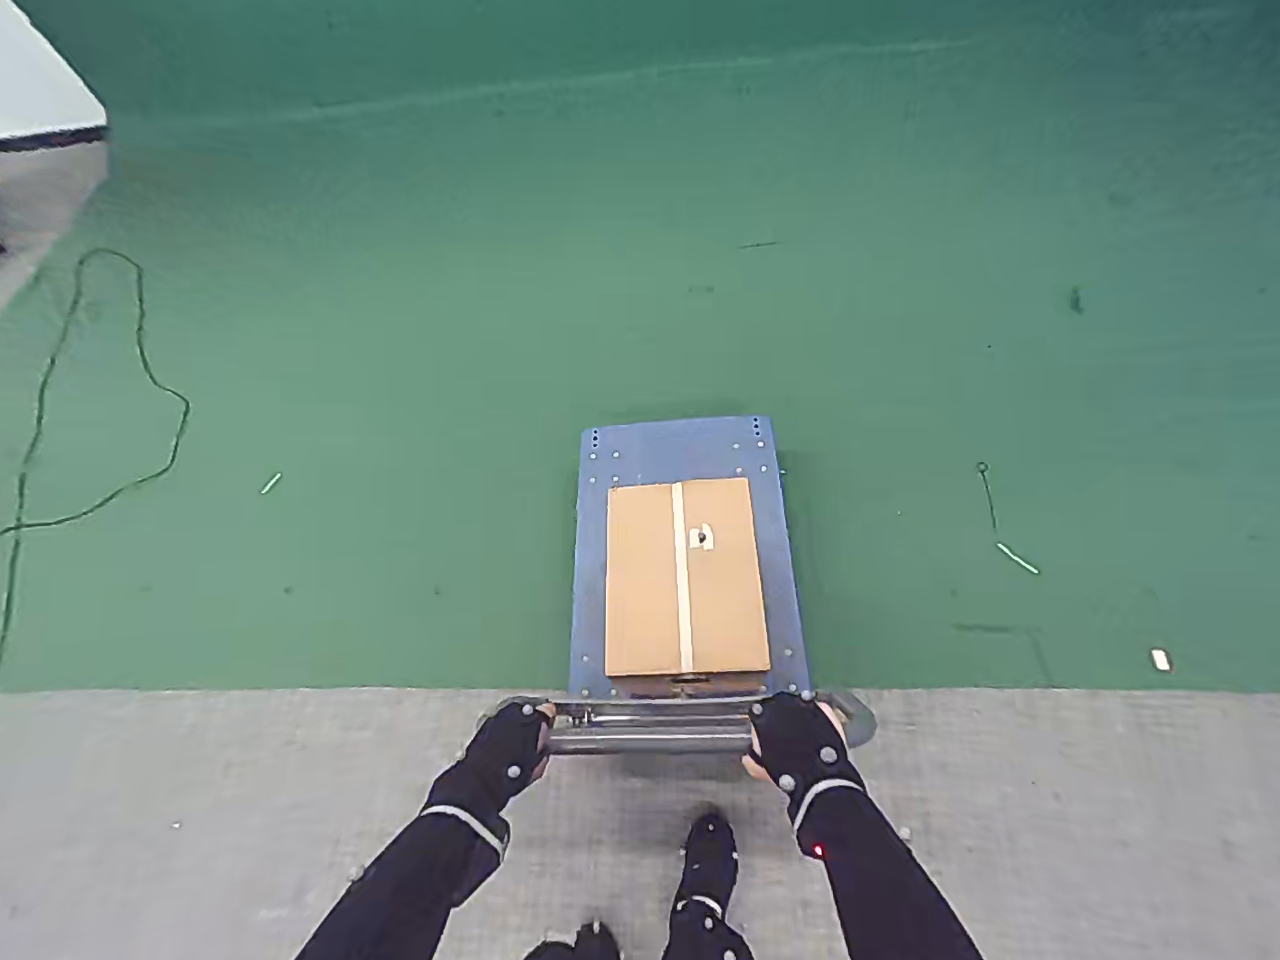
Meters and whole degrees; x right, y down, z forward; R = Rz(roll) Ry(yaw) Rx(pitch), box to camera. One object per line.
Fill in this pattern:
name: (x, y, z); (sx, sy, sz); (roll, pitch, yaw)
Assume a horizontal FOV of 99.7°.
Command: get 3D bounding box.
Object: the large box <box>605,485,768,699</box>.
large box: (0.104, 0.267, 1.244); (0.320, 0.320, 0.408); (-4, 61, 6)
